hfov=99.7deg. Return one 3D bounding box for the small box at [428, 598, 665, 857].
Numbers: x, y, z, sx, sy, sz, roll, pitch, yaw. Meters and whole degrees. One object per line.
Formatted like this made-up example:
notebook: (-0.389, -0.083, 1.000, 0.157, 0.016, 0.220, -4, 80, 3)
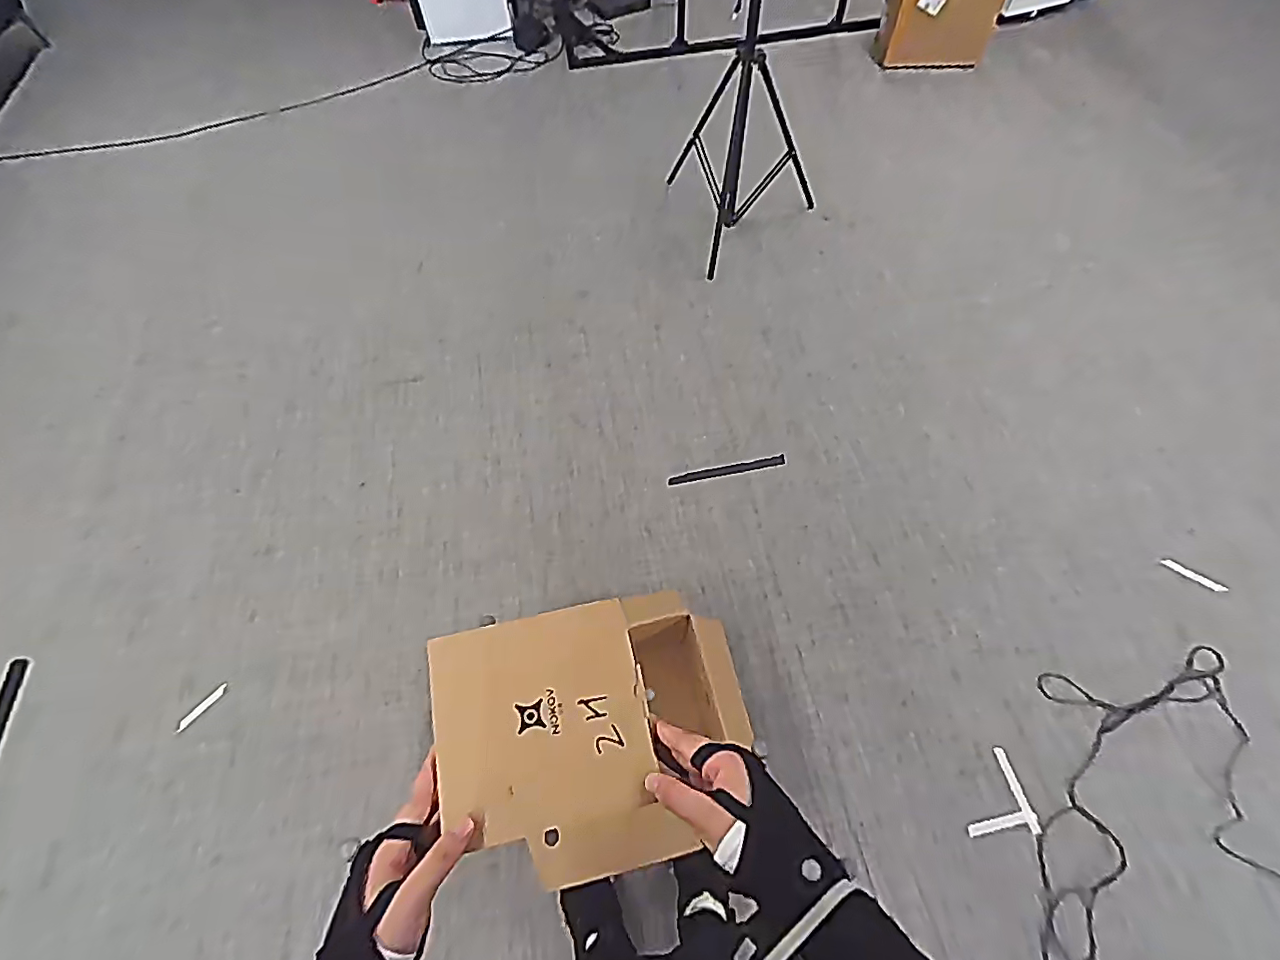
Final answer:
small box: (-0.083, 0.225, 0.511, 0.179, 0.176, 0.168, -11, 67, -7)
